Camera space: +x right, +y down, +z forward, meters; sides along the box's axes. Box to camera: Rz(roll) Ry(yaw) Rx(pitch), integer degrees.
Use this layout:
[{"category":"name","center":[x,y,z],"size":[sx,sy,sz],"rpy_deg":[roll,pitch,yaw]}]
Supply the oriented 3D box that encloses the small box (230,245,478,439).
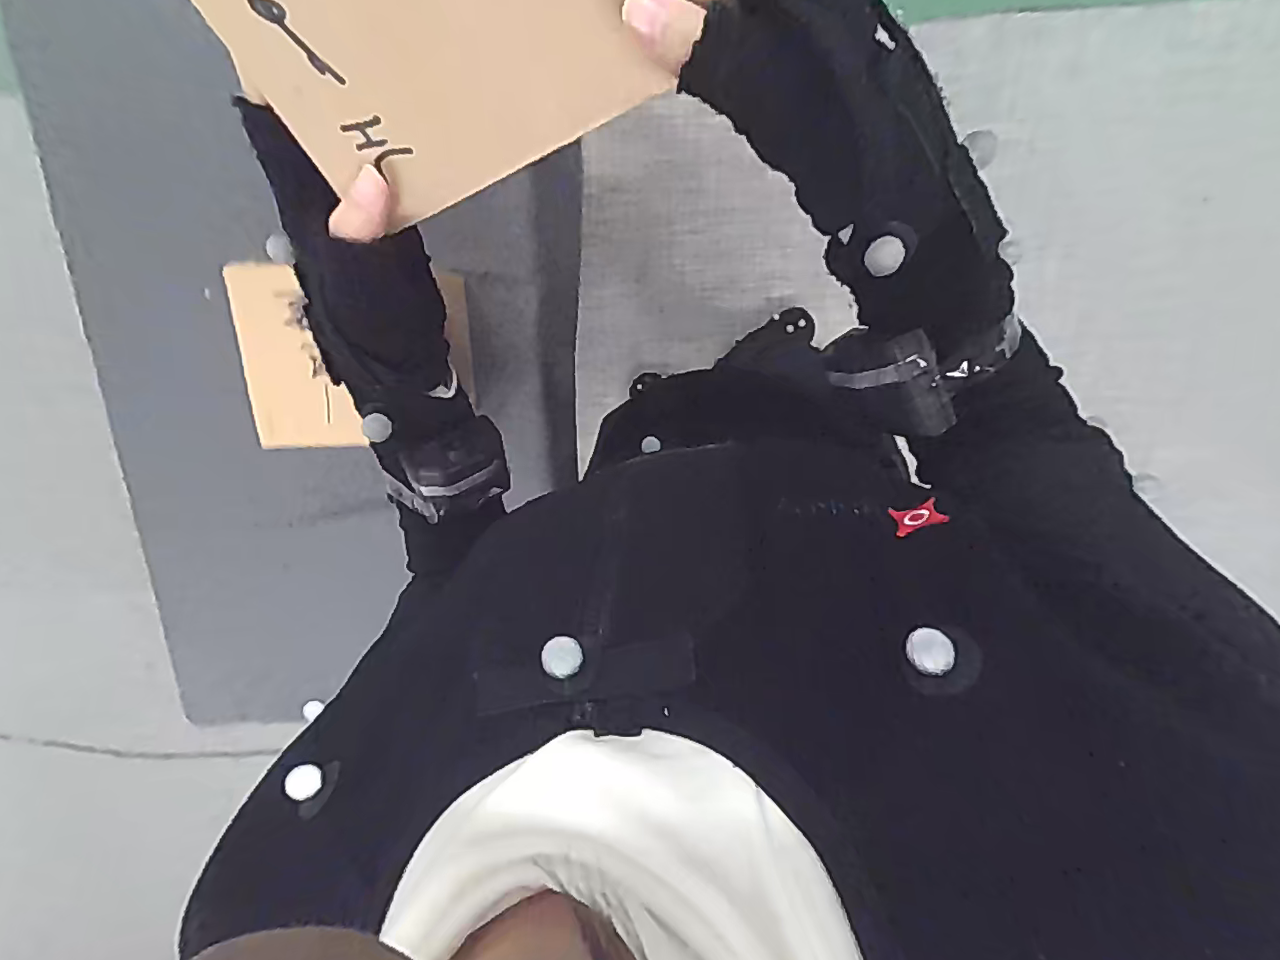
[{"category":"small box","center":[-0.298,-0.147,0.604],"size":[0.168,0.176,0.179],"rpy_deg":[-3,103,6]}]

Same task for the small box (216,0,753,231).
[{"category":"small box","center":[-0.070,-0.244,0.229],"size":[0.179,0.176,0.168],"rpy_deg":[-18,131,12]}]
